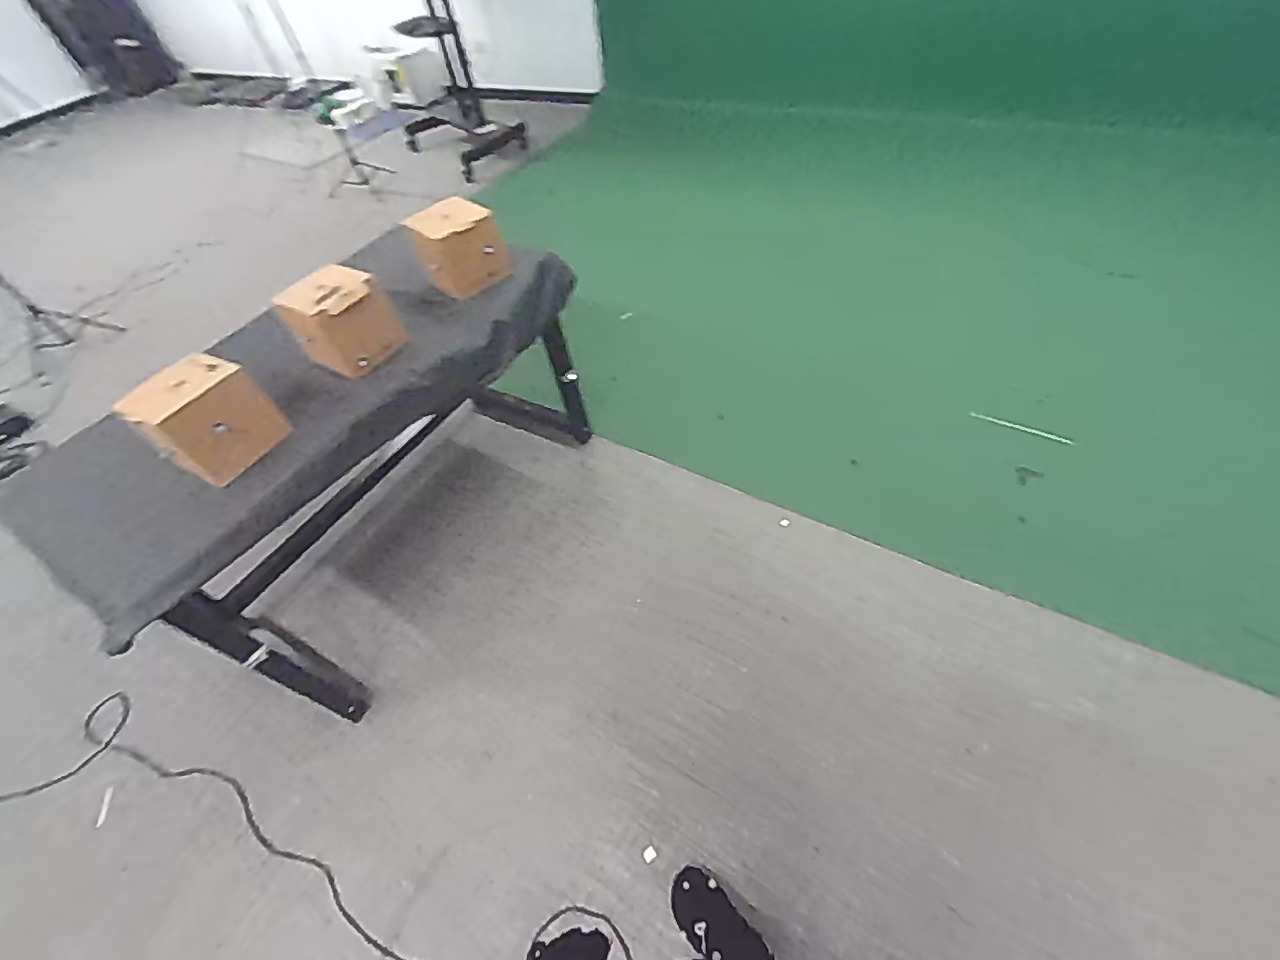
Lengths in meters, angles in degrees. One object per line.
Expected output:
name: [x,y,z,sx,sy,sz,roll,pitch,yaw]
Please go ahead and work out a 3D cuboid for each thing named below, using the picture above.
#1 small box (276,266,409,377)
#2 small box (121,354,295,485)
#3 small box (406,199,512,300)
small box: [-0.670,-0.359,1.239,0.179,0.176,0.168,23,58,27]
small box: [-0.837,-0.118,1.067,0.168,0.176,0.179,18,56,25]
small box: [-0.458,-0.588,1.392,0.168,0.176,0.179,-40,54,-23]
